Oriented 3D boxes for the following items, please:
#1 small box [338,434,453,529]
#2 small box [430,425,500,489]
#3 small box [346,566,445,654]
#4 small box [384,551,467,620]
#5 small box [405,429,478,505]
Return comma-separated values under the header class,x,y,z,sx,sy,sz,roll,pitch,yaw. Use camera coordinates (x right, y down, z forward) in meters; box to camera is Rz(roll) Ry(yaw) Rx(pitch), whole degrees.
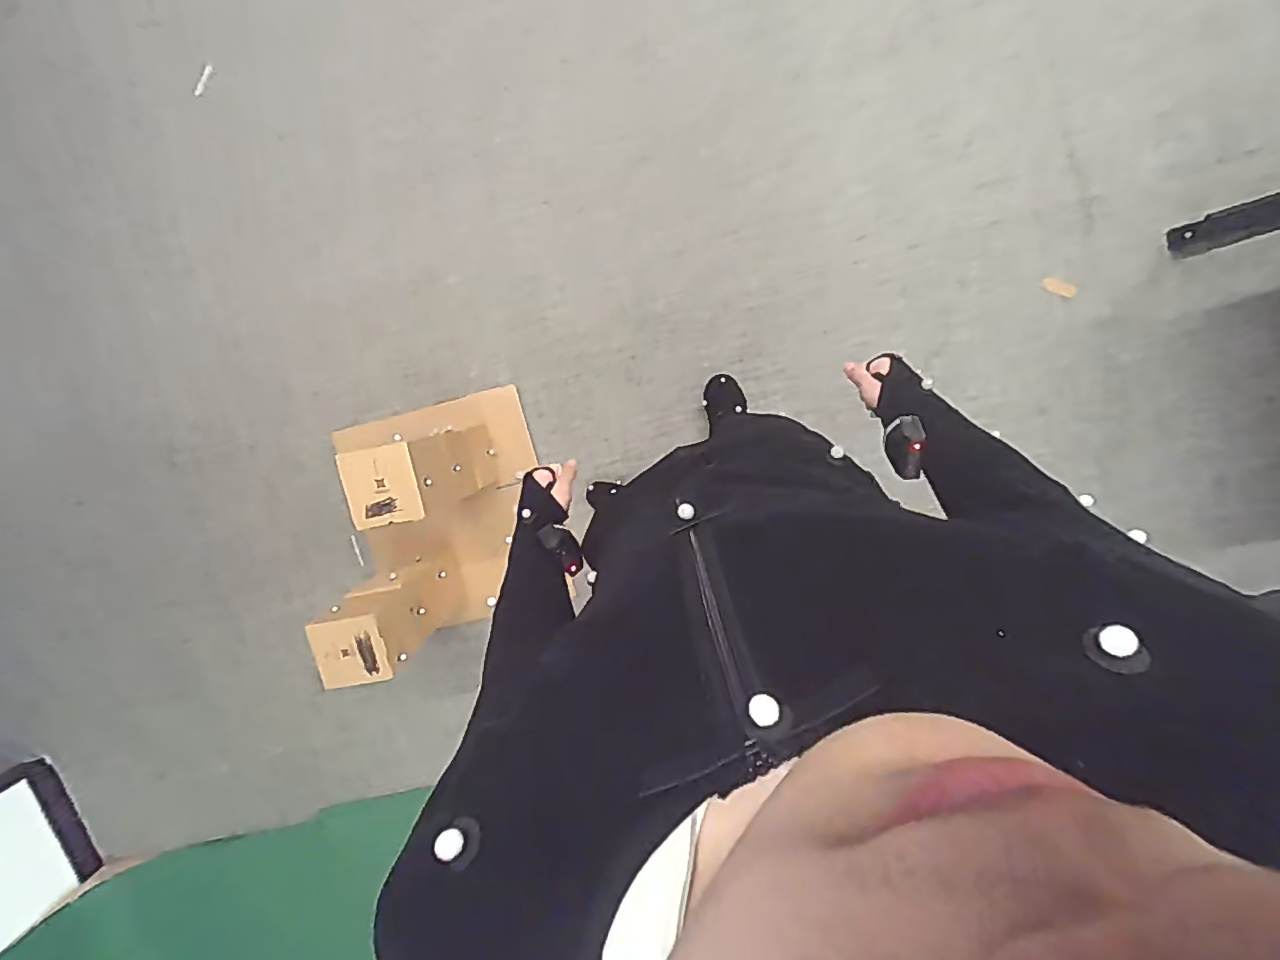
class,x,y,z,sx,sy,sz,roll,pitch,yaw
small box,-0.554,-0.002,1.253,0.168,0.176,0.179,-10,100,4
small box,-0.528,-0.061,1.575,0.168,0.176,0.179,-11,99,6
small box,-0.666,0.349,1.492,0.168,0.176,0.179,-12,100,5
small box,-0.654,0.326,1.651,0.168,0.176,0.179,-12,100,6
small box,-0.542,-0.029,1.415,0.168,0.176,0.179,-8,100,5
